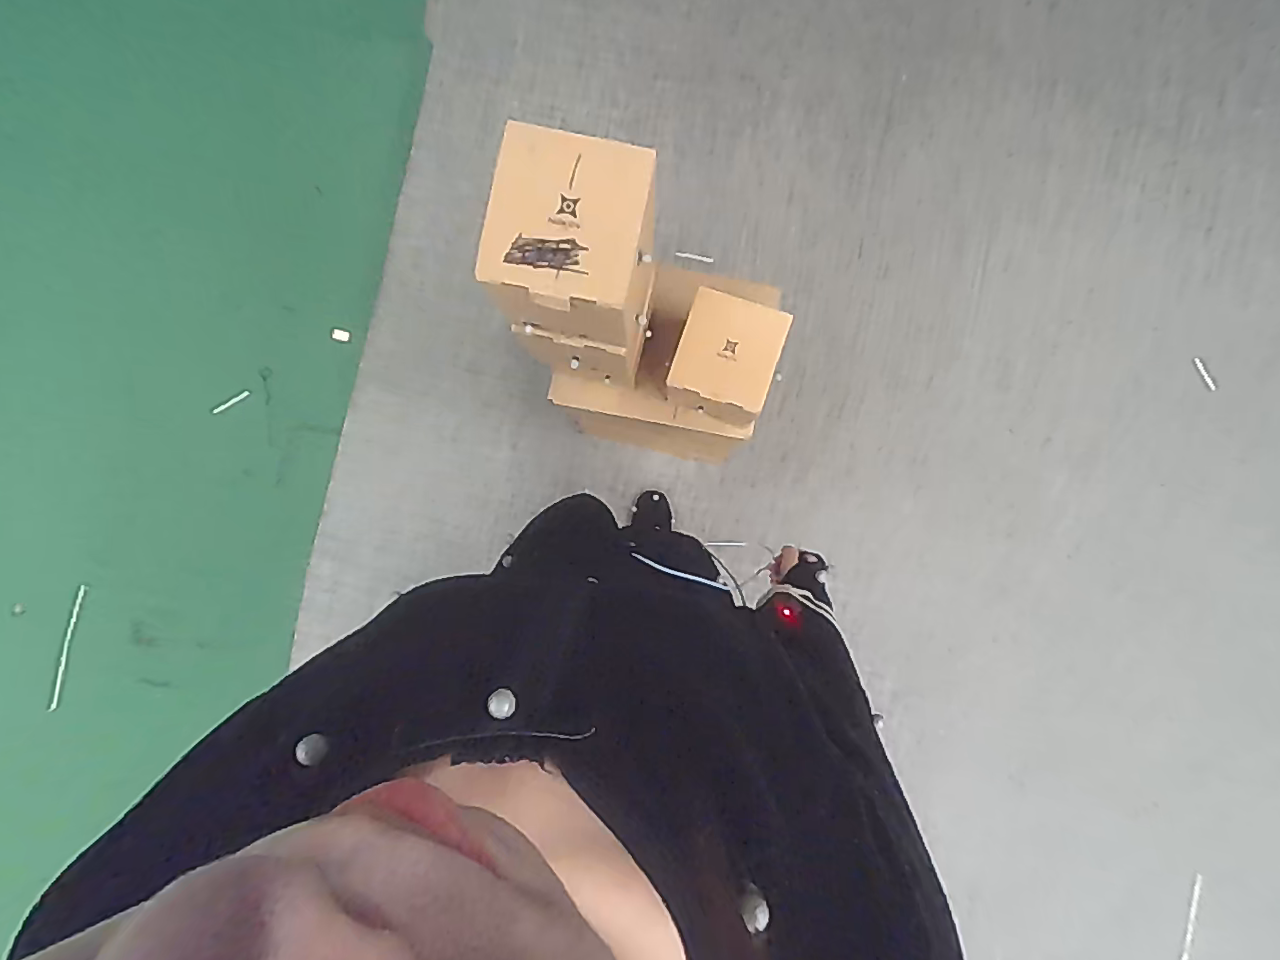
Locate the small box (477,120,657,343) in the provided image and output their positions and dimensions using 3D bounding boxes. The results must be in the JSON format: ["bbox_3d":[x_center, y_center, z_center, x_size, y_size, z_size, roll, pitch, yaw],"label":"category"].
[{"bbox_3d":[-0.076,-0.281,0.651,0.168,0.176,0.179,12,88,0],"label":"small box"}]

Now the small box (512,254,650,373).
[{"bbox_3d":[-0.078,-0.271,0.815,0.168,0.176,0.179,12,90,0],"label":"small box"}]

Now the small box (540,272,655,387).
[{"bbox_3d":[-0.070,-0.278,0.979,0.168,0.176,0.179,14,89,1],"label":"small box"}]

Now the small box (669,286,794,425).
[{"bbox_3d":[0.154,-0.212,0.966,0.168,0.176,0.179,19,89,4],"label":"small box"}]
